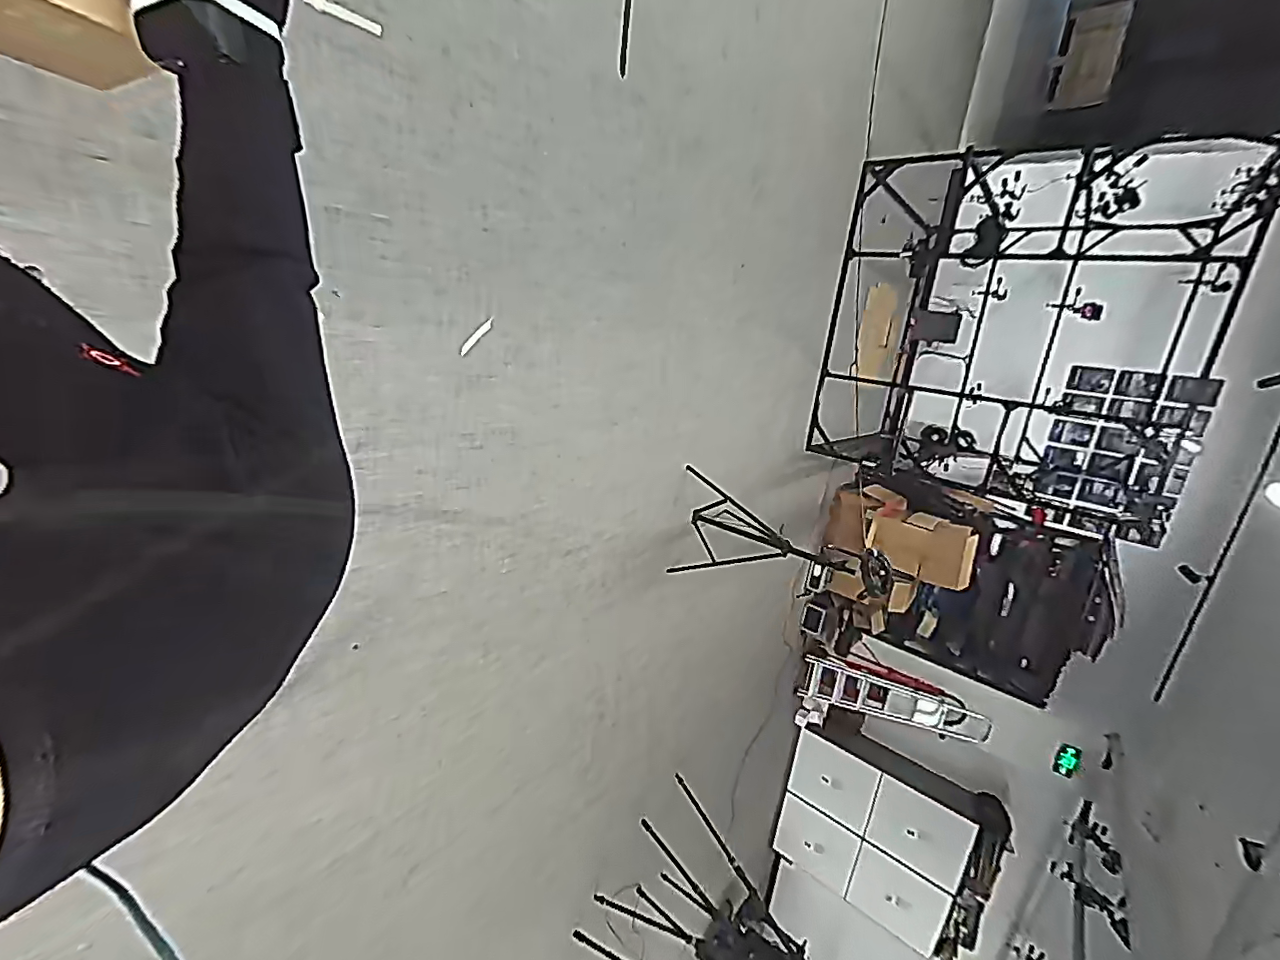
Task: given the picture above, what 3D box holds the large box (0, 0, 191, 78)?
[{"bbox_3d":[-0.529,-0.486,0.276,0.408,0.320,0.320,-7,115,-53],"label":"large box"}]
